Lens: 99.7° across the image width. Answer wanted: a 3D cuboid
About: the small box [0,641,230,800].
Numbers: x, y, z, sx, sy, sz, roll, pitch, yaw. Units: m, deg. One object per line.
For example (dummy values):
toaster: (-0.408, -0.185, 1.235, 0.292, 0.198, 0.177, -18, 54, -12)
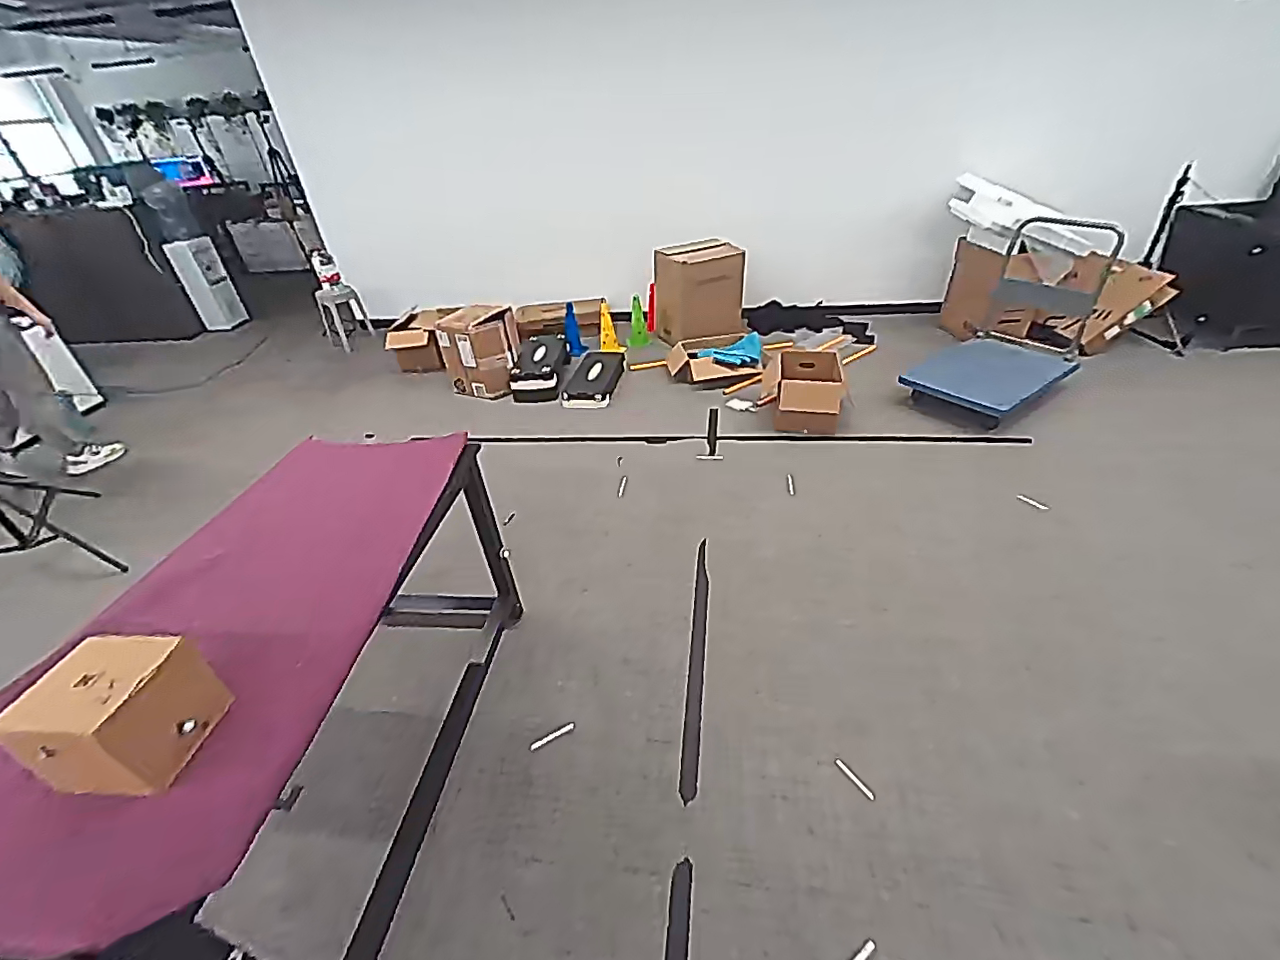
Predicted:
small box: (-0.804, 0.371, 0.838, 0.179, 0.176, 0.168, -1, 34, 6)
